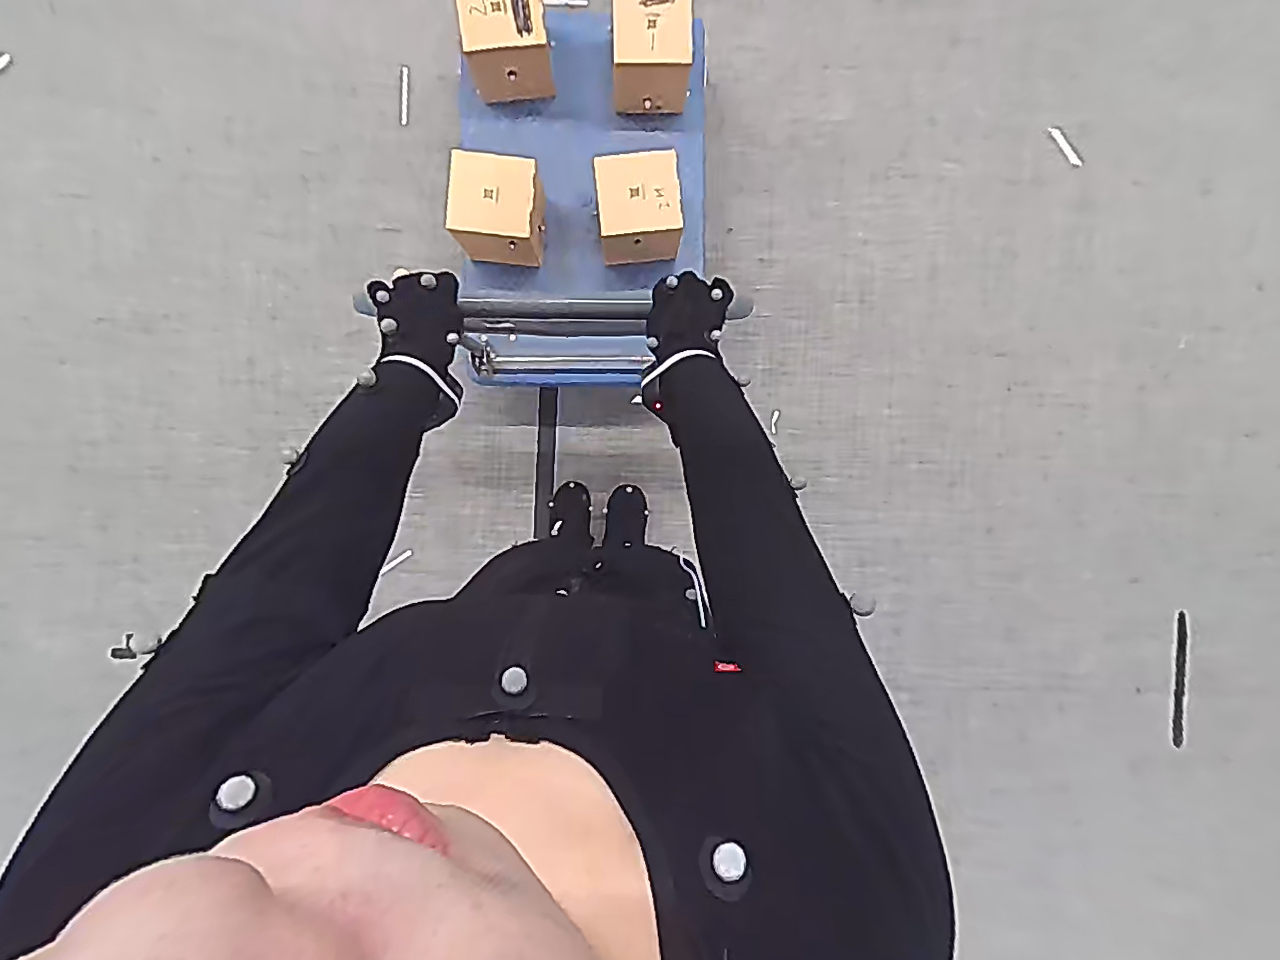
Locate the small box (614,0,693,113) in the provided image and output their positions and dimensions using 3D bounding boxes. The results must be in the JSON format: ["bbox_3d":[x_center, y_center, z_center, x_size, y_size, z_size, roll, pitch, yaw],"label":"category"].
[{"bbox_3d":[0.026,-0.960,1.200,0.168,0.176,0.179,0,93,-1],"label":"small box"}]

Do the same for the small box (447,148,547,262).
[{"bbox_3d":[-0.311,-0.603,1.206,0.179,0.176,0.168,5,92,-3],"label":"small box"}]

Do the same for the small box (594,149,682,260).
[{"bbox_3d":[-0.004,-0.608,1.213,0.179,0.176,0.168,-5,93,-1],"label":"small box"}]
